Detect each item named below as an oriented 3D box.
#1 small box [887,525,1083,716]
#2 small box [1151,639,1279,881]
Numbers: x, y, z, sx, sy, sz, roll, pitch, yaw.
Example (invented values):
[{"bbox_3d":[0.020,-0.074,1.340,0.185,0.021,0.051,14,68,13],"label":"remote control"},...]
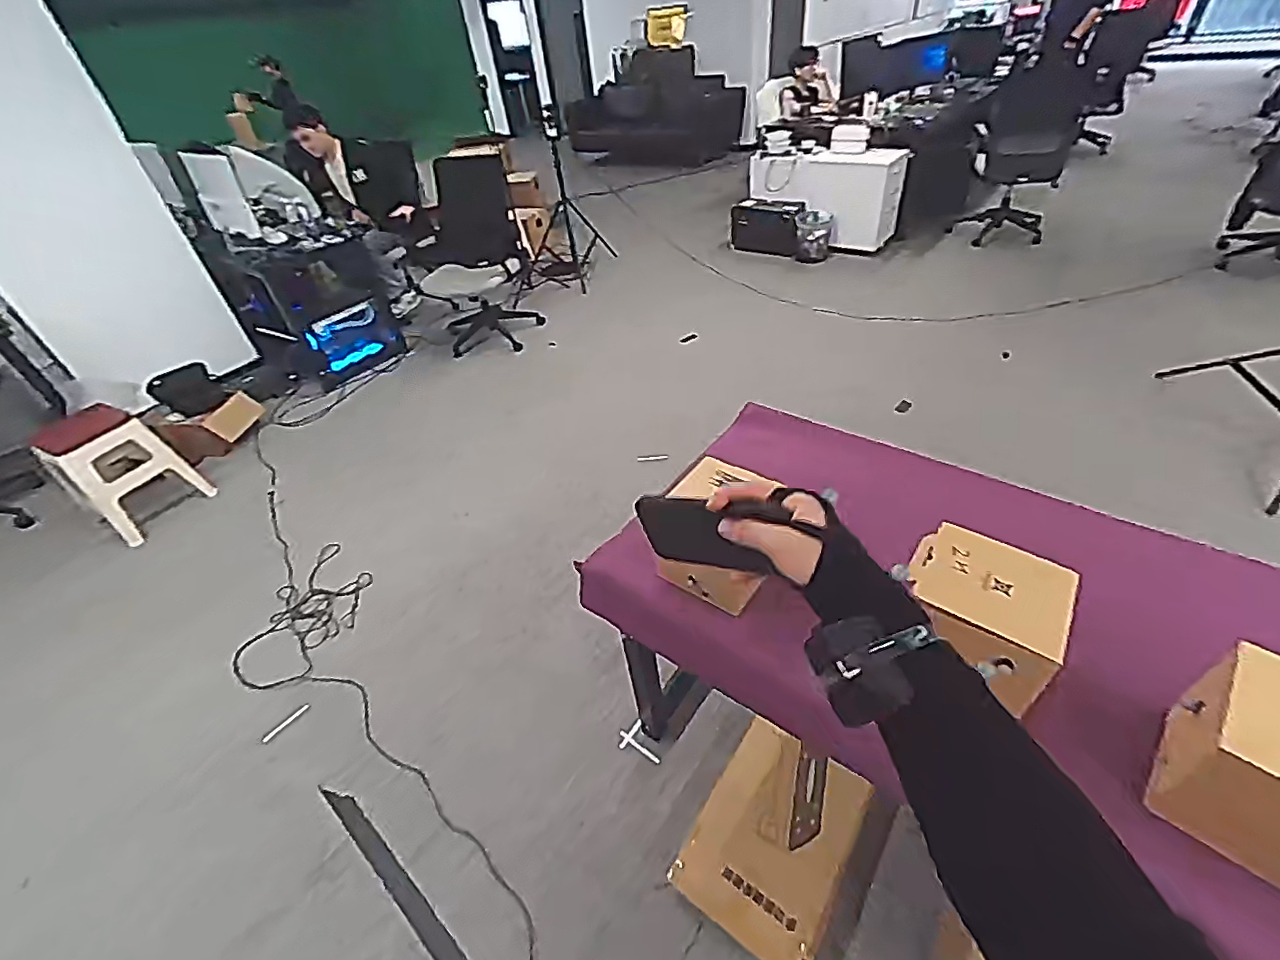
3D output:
[{"bbox_3d":[0.478,0.201,0.765,0.179,0.176,0.168,22,47,31],"label":"small box"},{"bbox_3d":[0.716,0.319,0.590,0.179,0.176,0.168,29,53,35],"label":"small box"}]
